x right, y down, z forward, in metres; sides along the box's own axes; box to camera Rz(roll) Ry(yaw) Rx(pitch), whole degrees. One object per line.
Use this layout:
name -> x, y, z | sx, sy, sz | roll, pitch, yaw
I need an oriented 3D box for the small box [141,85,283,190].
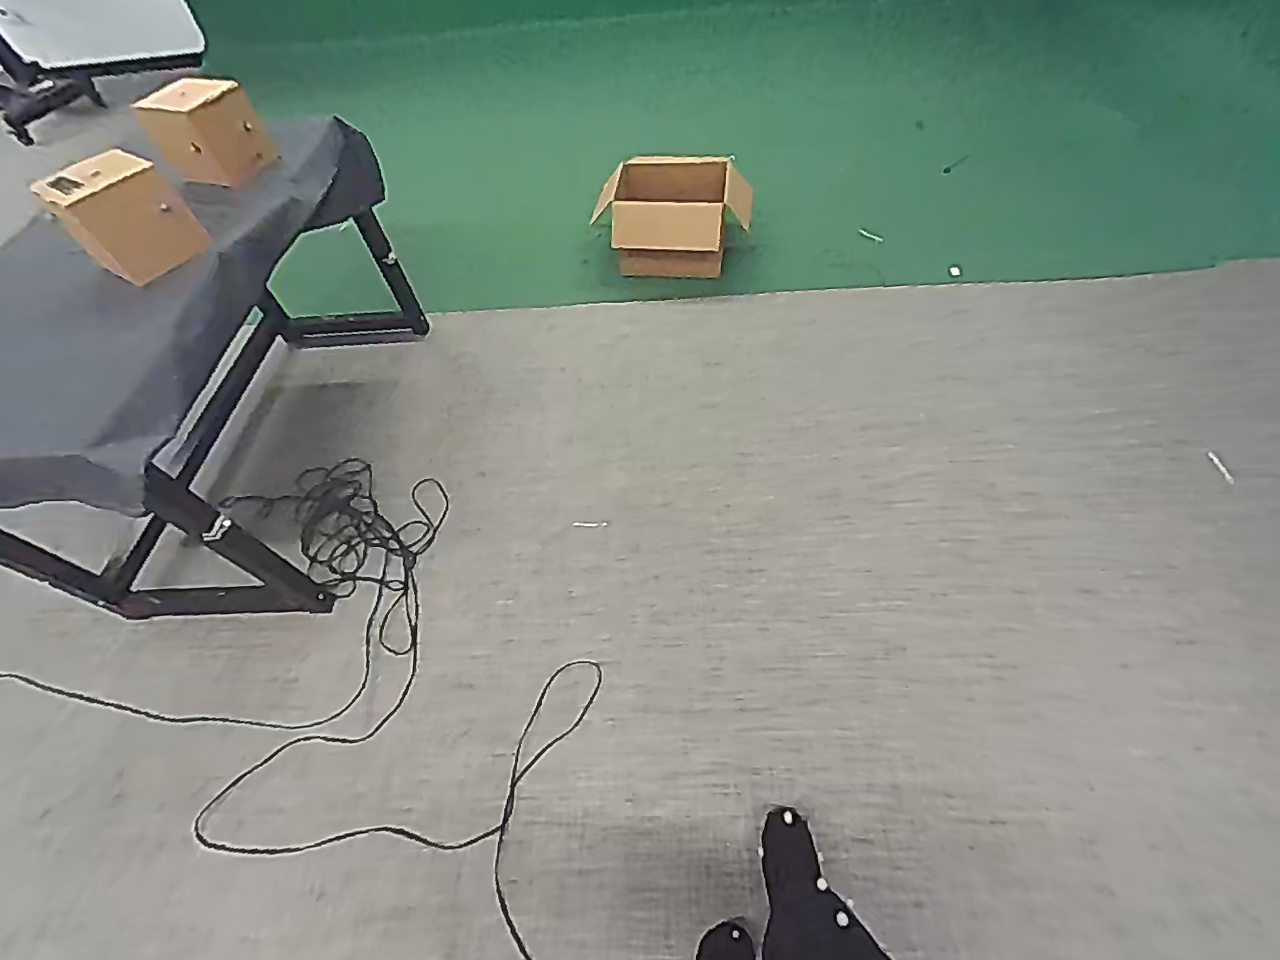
small box -> -1.036, -0.837, 1.327 | 0.179, 0.176, 0.168 | 13, 56, 15
